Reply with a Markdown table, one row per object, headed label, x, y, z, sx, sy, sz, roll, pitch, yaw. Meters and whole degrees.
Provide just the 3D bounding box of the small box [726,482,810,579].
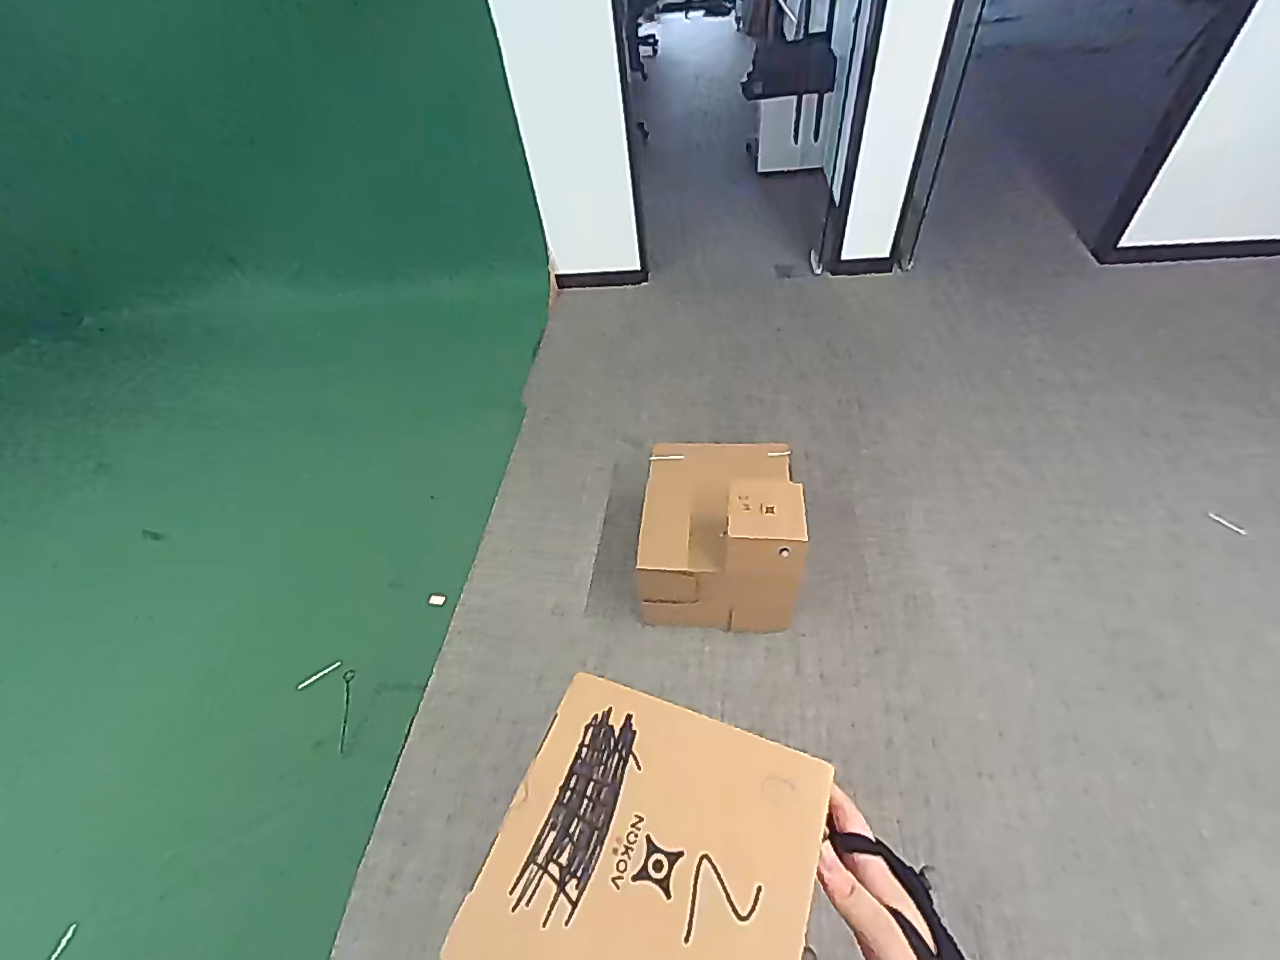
| label | x | y | z | sx | sy | sz | roll | pitch | yaw |
| --- | --- | --- | --- | --- | --- | --- | --- | --- | --- |
| small box | 0.298 | 0.123 | 1.287 | 0.179 | 0.176 | 0.168 | 2 | 49 | 9 |
